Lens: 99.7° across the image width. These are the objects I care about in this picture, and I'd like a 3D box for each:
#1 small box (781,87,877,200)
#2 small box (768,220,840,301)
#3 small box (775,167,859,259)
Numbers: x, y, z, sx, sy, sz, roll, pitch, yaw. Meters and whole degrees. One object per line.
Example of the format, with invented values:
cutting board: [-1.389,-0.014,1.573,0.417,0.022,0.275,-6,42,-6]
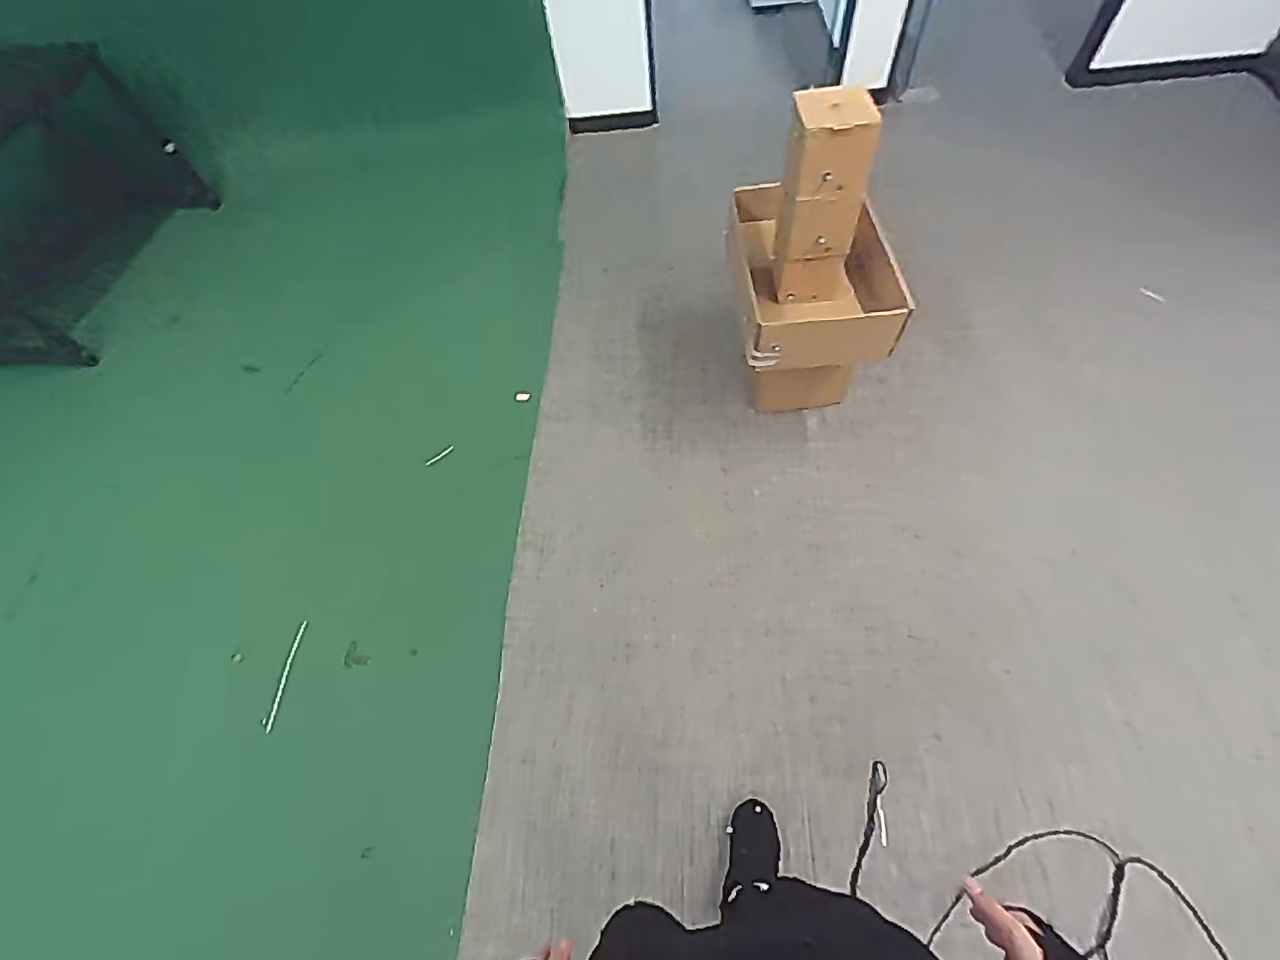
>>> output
small box: [0.441,-0.802,1.294,0.168,0.176,0.179,-4,59,3]
small box: [0.472,-0.639,1.576,0.168,0.176,0.179,-3,58,4]
small box: [0.458,-0.714,1.430,0.168,0.176,0.179,-5,59,4]
